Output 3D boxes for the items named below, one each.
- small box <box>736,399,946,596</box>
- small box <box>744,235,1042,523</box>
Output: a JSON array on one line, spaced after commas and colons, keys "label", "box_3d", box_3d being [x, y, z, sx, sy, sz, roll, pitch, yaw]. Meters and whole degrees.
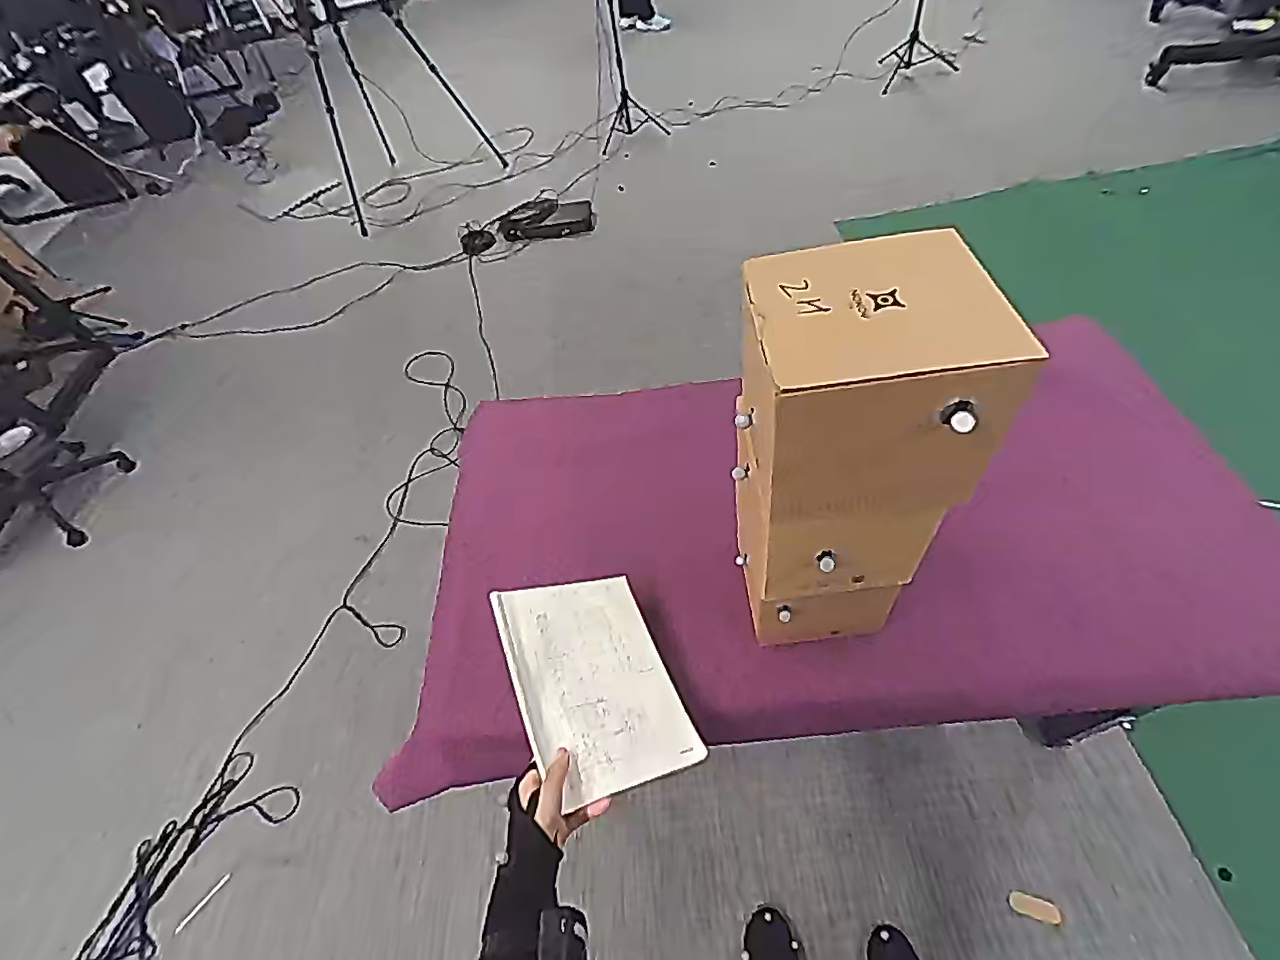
[{"label": "small box", "box_3d": [0.204, 0.017, 0.601, 0.168, 0.176, 0.179, -8, 51, 5]}, {"label": "small box", "box_3d": [0.187, -0.079, 0.467, 0.179, 0.176, 0.168, -6, 51, 7]}]
